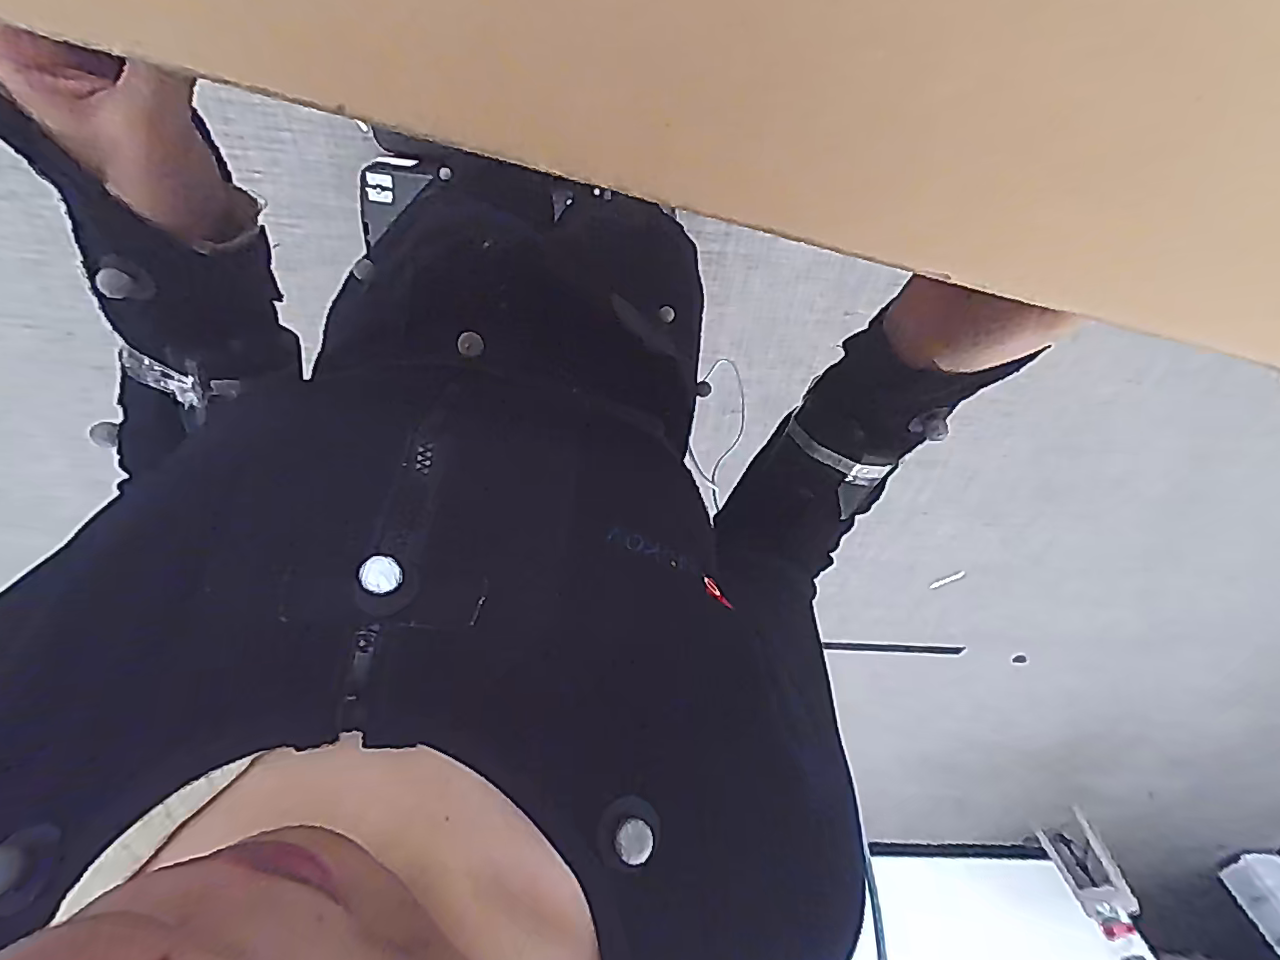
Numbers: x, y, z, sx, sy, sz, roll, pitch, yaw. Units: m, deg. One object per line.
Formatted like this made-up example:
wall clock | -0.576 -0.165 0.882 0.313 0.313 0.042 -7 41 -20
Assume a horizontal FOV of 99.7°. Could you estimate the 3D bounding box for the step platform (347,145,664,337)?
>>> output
step platform | -0.291 -0.539 1.245 0.684 0.204 0.286 9 125 -6
